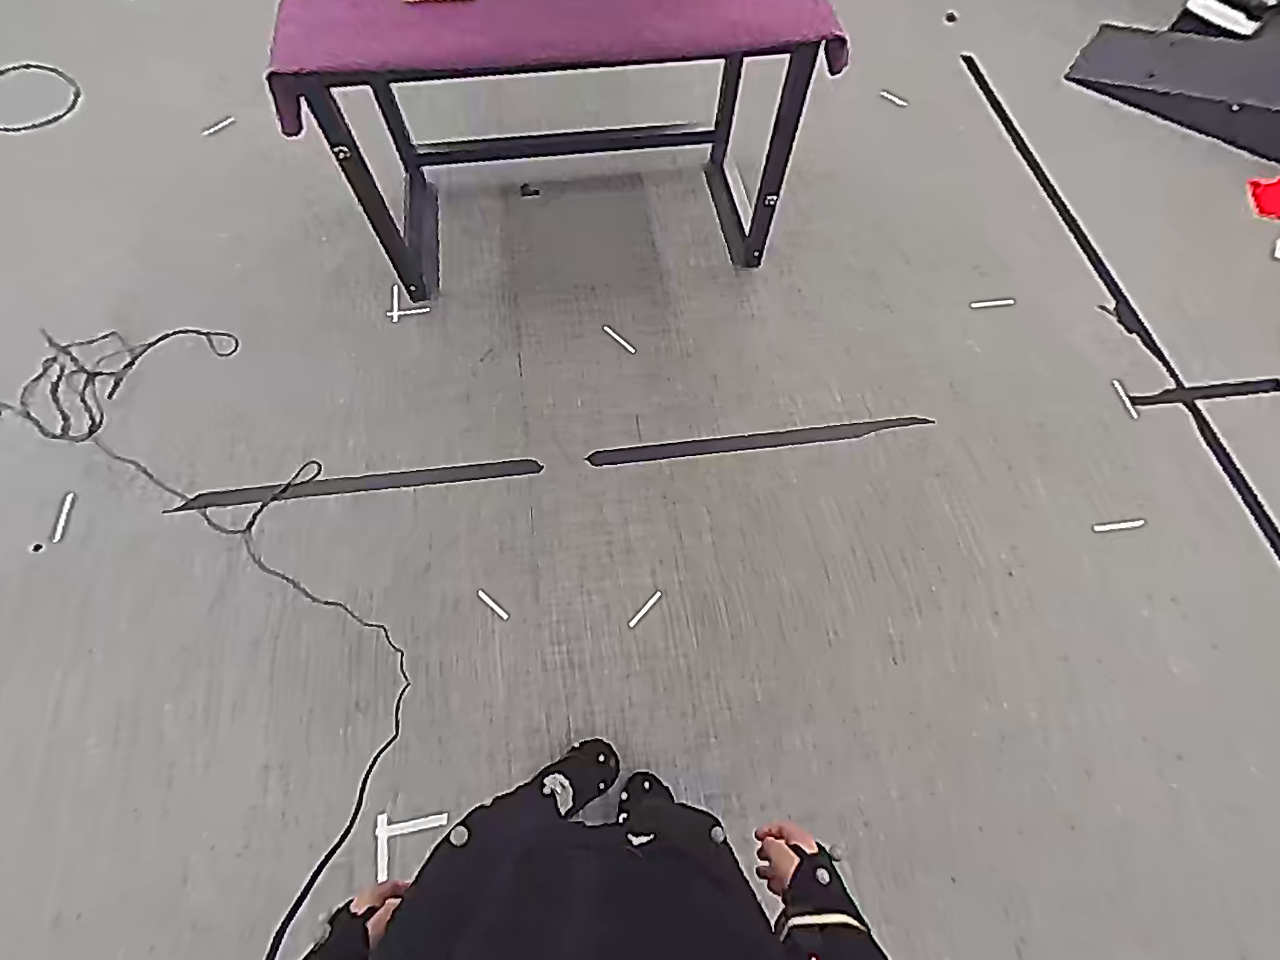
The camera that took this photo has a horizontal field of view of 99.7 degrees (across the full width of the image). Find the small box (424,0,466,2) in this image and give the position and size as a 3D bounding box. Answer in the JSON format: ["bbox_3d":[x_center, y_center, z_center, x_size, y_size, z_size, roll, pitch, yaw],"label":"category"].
[{"bbox_3d":[-0.454,-1.176,1.169,0.168,0.176,0.179,-6,67,-3],"label":"small box"}]
